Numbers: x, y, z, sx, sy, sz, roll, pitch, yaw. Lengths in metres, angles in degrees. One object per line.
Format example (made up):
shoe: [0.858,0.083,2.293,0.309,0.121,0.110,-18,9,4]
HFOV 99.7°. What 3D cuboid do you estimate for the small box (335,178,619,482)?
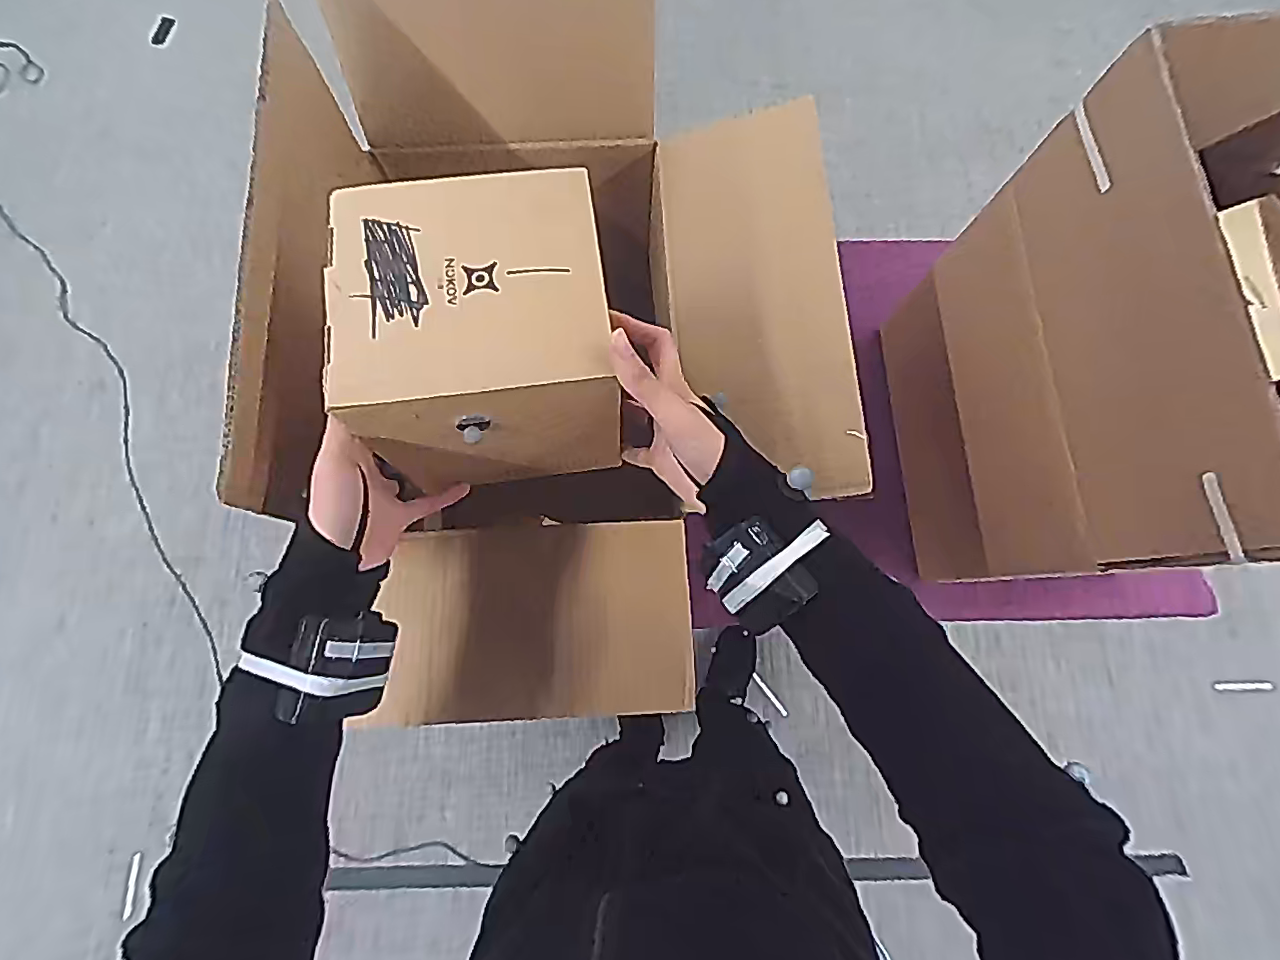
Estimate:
small box: [-0.112,-0.105,0.434,0.179,0.176,0.168,-7,73,-4]
